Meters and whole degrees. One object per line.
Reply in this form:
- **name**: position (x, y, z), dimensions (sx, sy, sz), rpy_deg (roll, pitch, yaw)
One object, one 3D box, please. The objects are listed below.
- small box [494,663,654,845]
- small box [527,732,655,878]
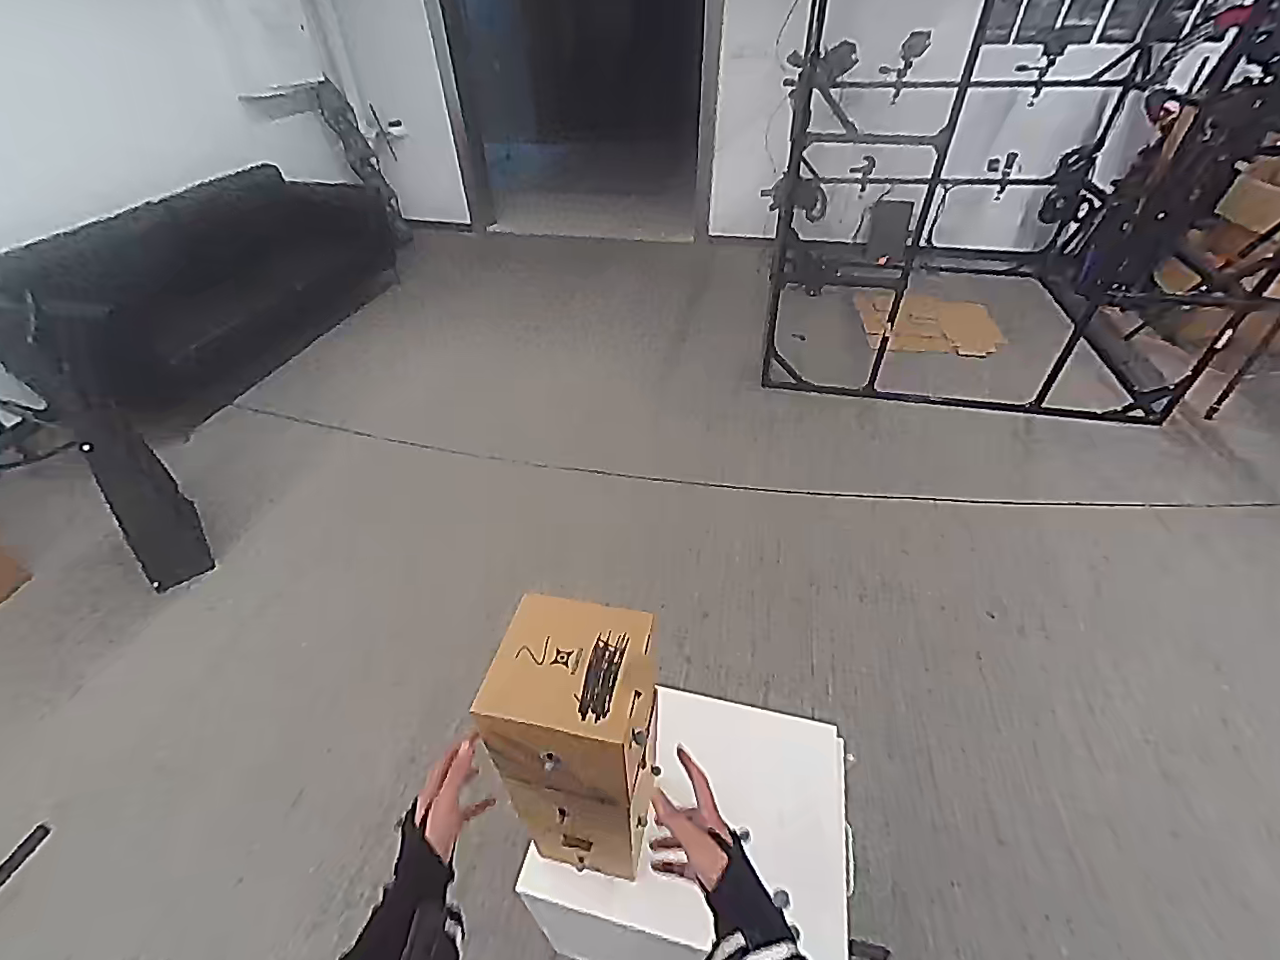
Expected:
- **small box**: position (-0.081, 0.396, 0.778), dimensions (0.179, 0.176, 0.168), rpy_deg (8, 42, 12)
- **small box**: position (-0.073, 0.515, 0.892), dimensions (0.168, 0.176, 0.179), rpy_deg (8, 43, 11)
